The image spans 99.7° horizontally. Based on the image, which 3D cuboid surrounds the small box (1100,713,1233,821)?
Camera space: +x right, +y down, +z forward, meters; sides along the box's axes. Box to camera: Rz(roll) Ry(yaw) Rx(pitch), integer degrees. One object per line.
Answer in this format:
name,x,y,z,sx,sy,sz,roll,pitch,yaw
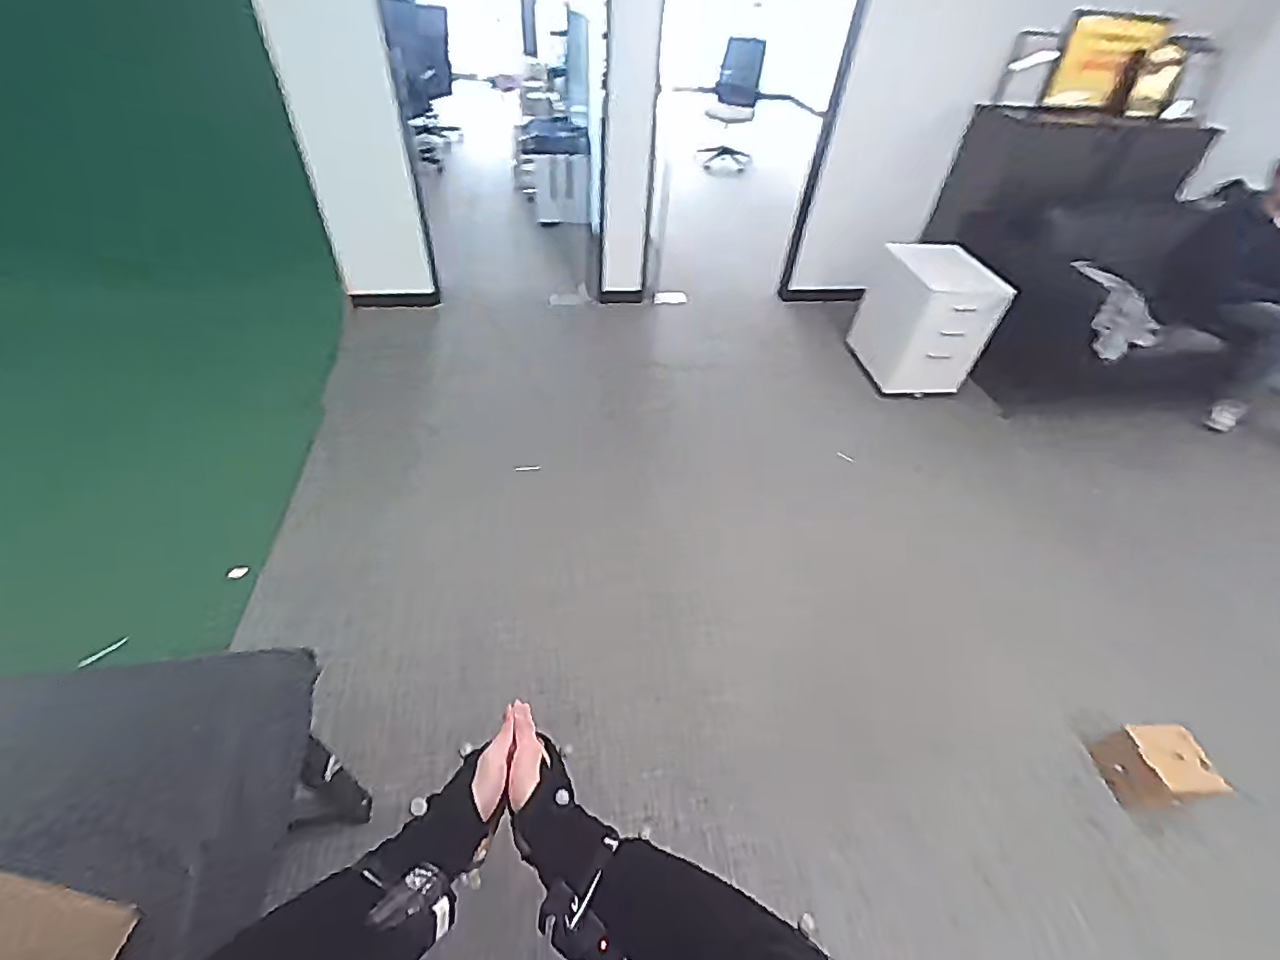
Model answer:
small box,1.418,0.781,1.469,0.168,0.176,0.179,-20,48,-26
